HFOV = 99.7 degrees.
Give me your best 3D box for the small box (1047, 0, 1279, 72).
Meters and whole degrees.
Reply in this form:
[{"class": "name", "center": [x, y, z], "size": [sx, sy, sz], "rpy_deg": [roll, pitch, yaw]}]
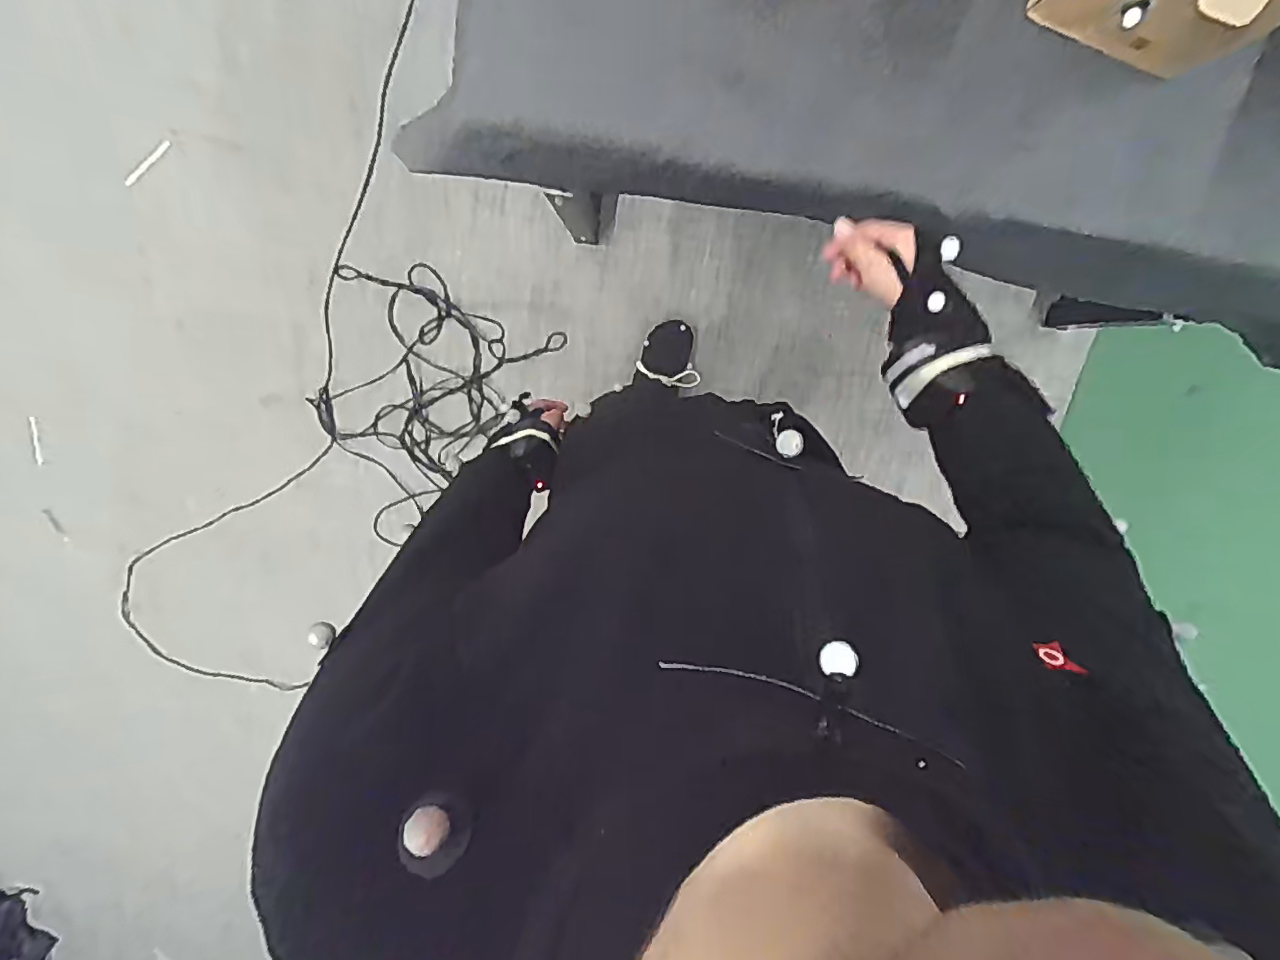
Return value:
[{"class": "small box", "center": [0.470, -0.471, 0.414], "size": [0.168, 0.176, 0.179], "rpy_deg": [19, 103, -5]}]
